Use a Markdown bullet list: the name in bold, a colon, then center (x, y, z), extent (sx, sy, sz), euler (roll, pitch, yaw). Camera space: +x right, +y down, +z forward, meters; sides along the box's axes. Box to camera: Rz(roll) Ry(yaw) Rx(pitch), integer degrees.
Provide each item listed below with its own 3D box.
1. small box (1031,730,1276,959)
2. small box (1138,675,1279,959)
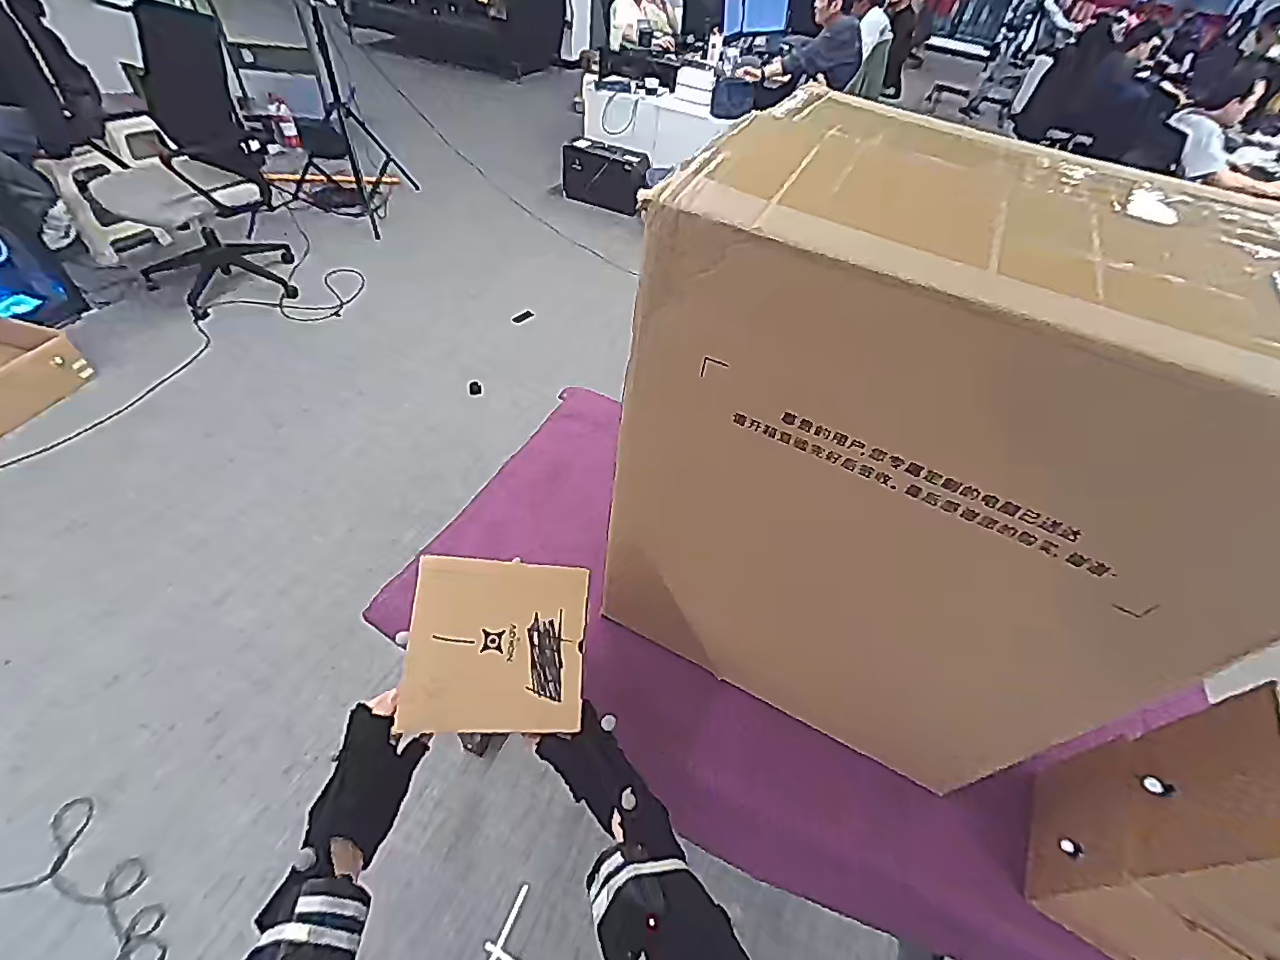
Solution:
- **small box**: center (0.585, 0.434, 0.617), extent (0.168, 0.176, 0.179), euler (28, 49, 17)
- **small box**: center (0.611, 0.326, 0.497), extent (0.168, 0.176, 0.179), euler (31, 51, 20)
